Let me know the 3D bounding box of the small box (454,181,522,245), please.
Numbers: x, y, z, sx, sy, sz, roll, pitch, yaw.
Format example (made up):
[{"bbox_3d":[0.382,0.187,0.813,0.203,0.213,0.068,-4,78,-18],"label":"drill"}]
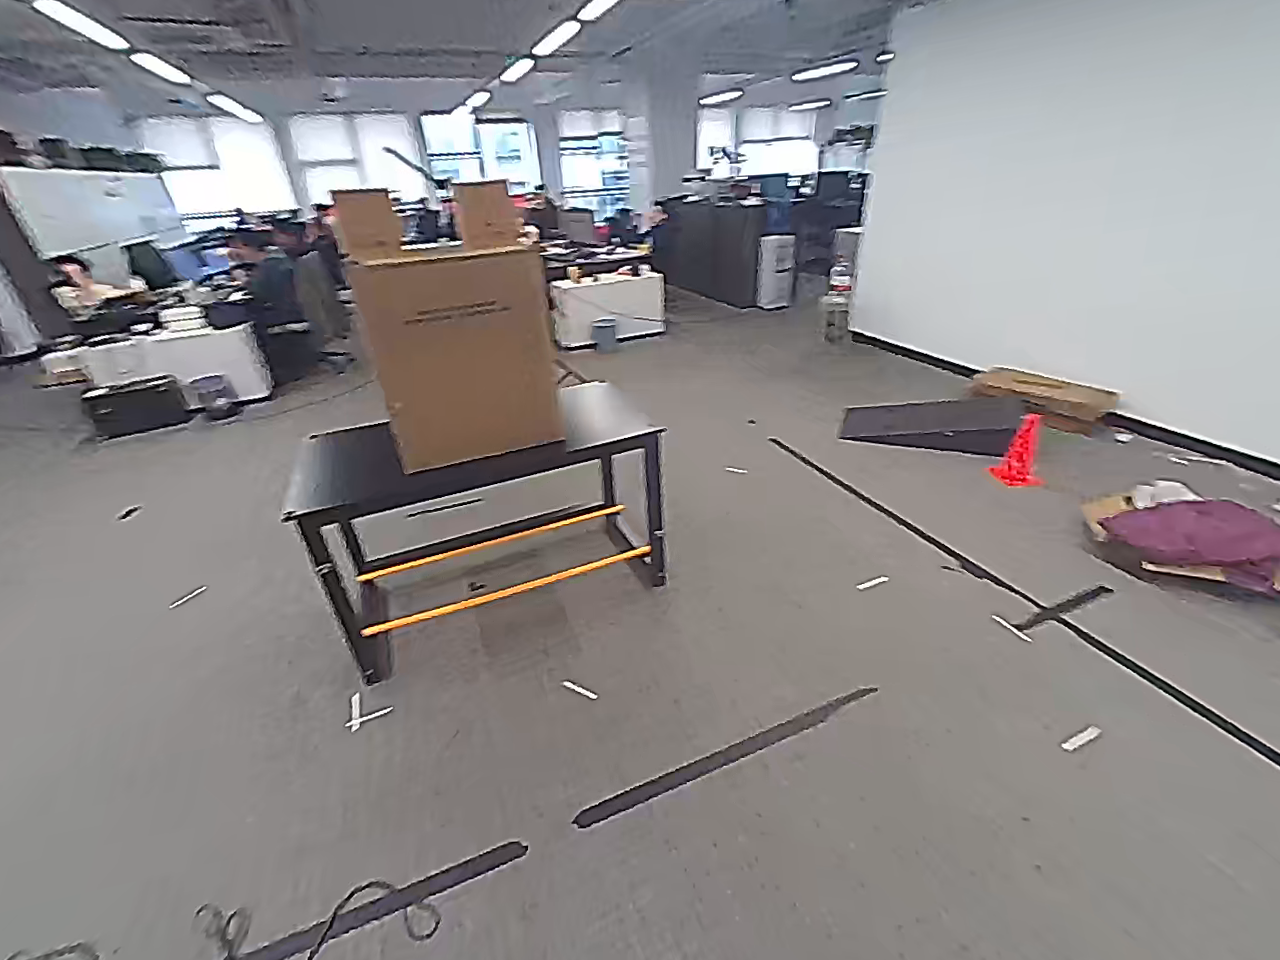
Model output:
[{"bbox_3d":[-0.486,-0.854,1.731,0.168,0.176,0.179,-16,31,-18],"label":"small box"}]

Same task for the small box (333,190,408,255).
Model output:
[{"bbox_3d":[-0.815,-0.780,1.637,0.168,0.176,0.179,-17,32,-24],"label":"small box"}]
